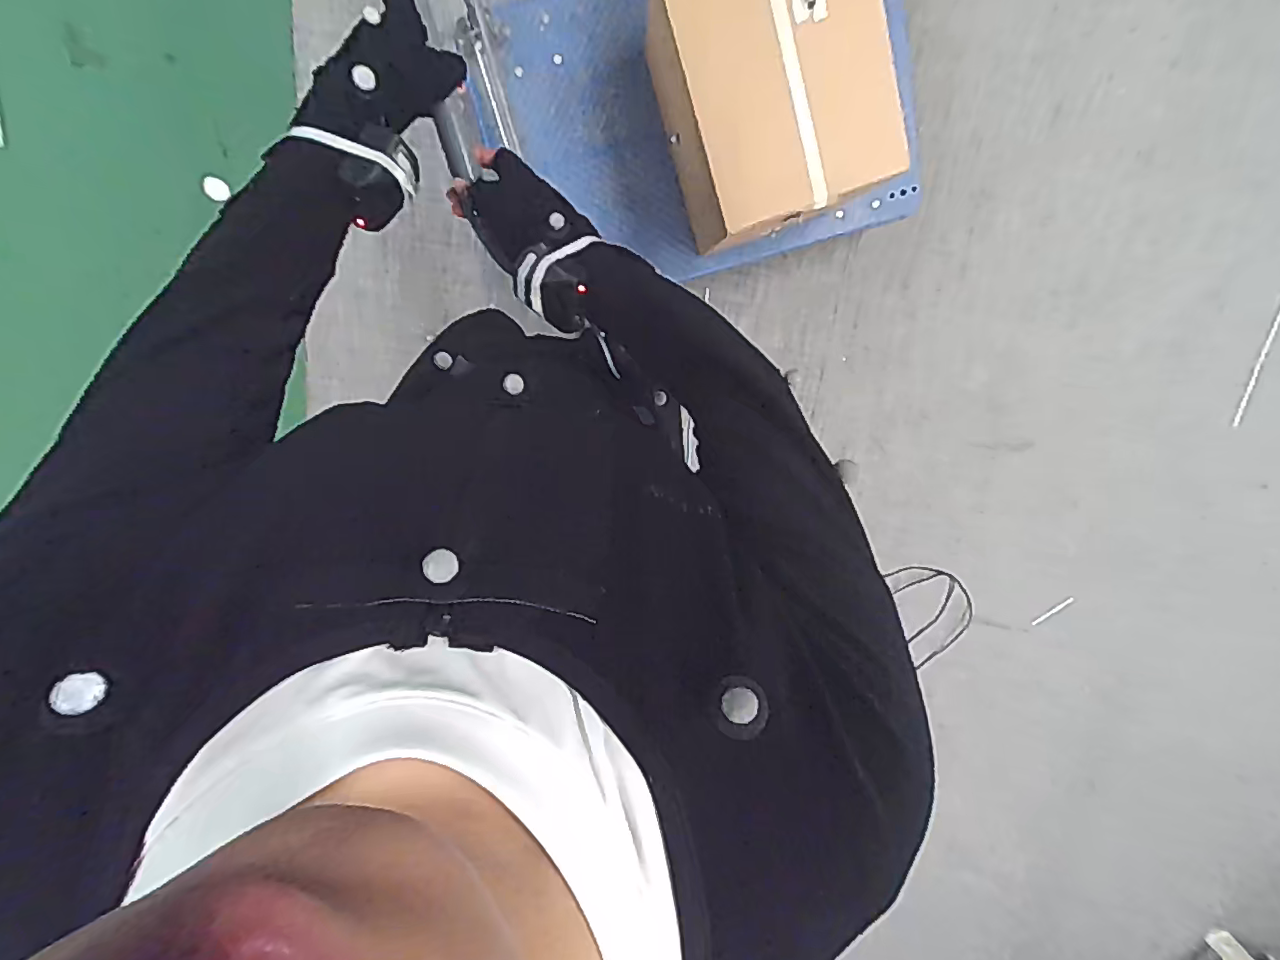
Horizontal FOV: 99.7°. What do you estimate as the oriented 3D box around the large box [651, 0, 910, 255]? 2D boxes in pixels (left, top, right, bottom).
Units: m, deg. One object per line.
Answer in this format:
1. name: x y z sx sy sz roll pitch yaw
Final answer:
1. large box: 0.230 -0.680 0.984 0.320 0.320 0.408 -19 105 3
